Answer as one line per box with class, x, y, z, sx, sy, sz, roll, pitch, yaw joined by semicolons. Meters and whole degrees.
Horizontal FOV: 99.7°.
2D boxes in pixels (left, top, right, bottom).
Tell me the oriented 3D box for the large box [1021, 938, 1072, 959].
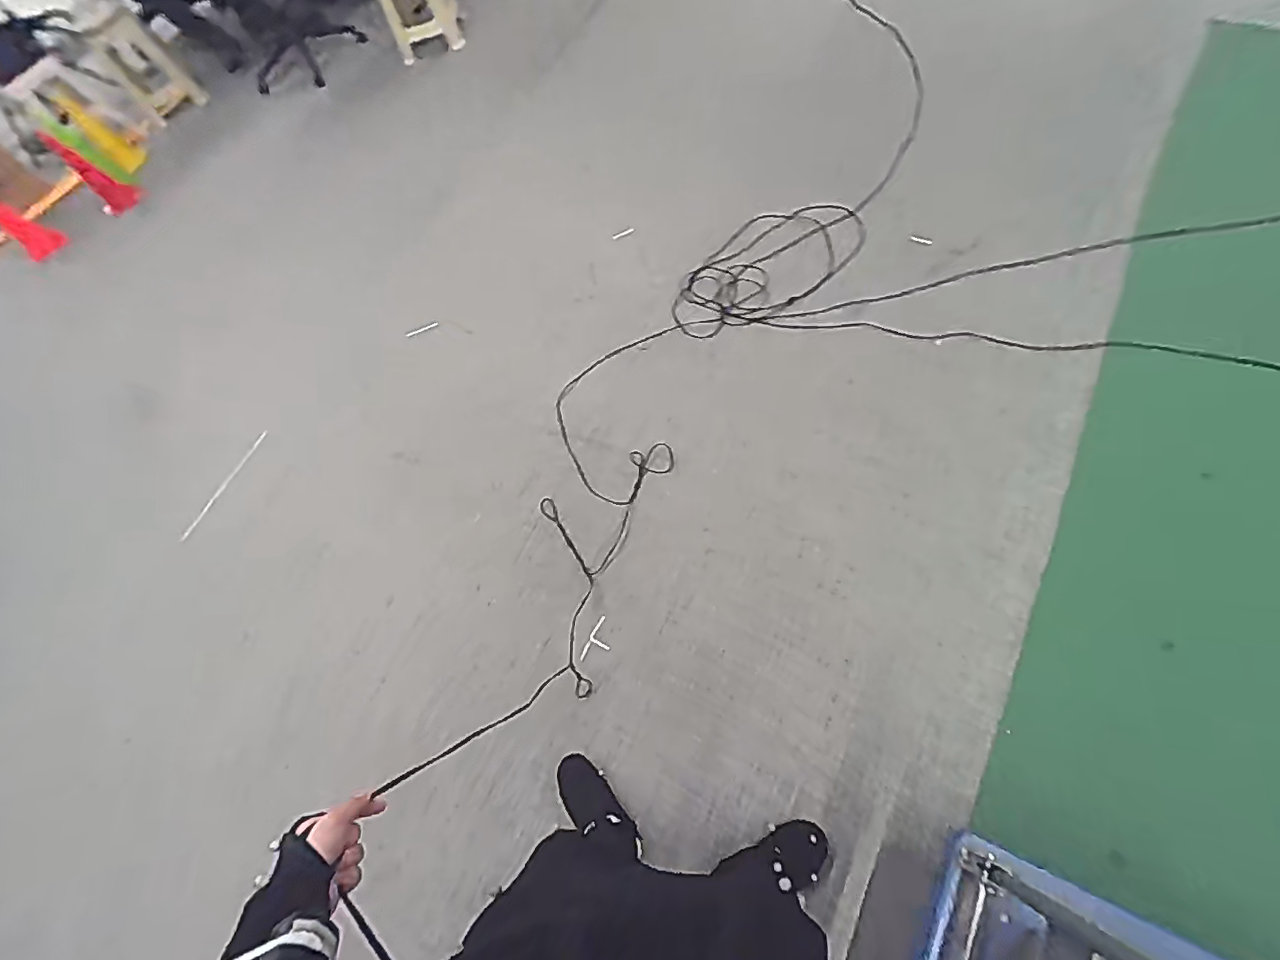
large box;0.793;0.974;0.756;0.408;0.320;0.320;25;73;18
